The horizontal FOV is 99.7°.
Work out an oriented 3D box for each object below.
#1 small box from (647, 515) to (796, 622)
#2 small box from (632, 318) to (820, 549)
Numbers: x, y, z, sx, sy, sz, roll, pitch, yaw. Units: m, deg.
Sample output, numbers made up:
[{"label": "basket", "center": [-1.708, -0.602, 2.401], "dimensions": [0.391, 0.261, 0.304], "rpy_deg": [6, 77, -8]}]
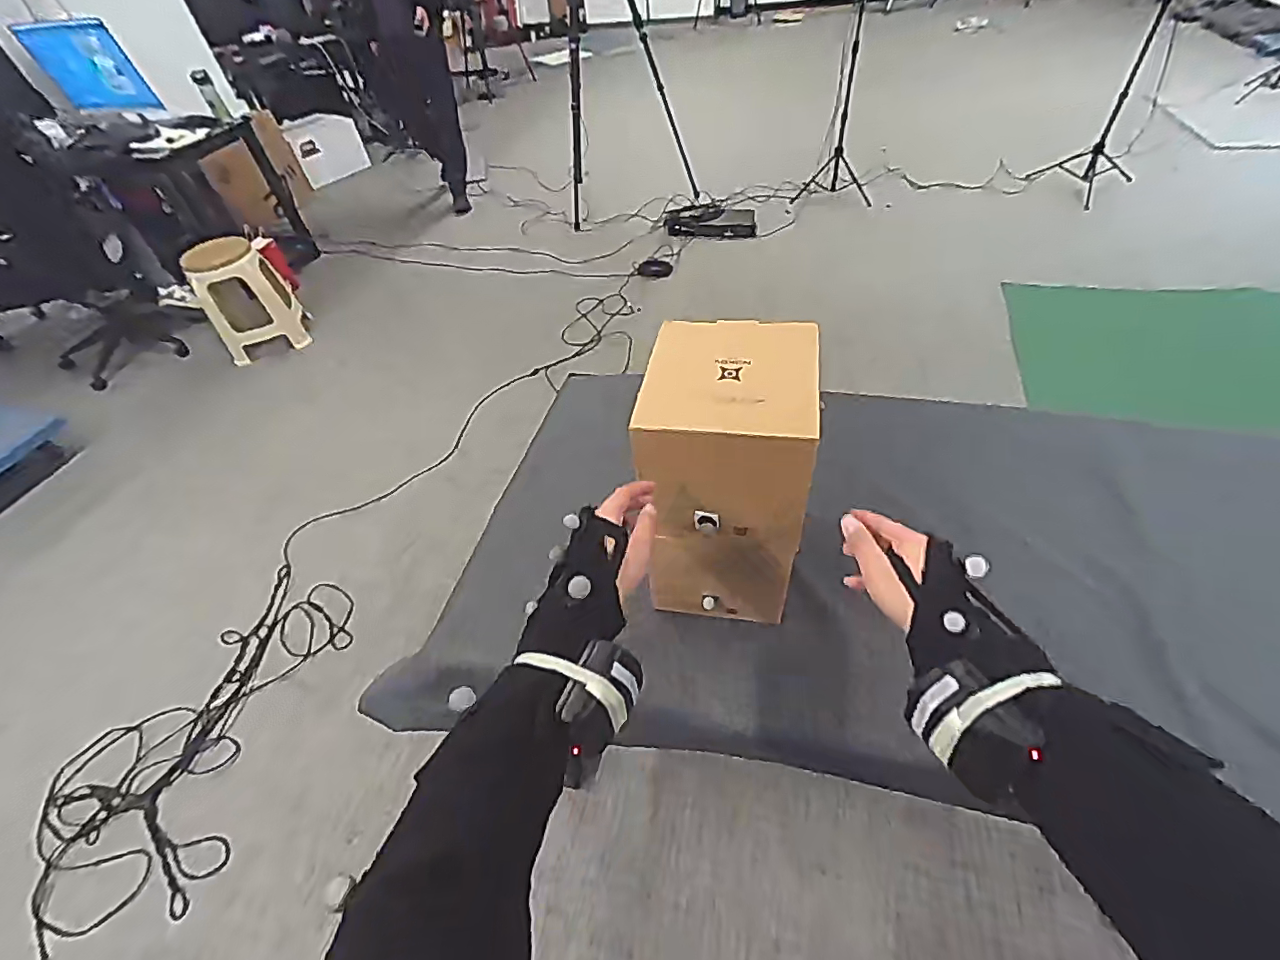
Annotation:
[{"label": "small box", "center": [0.108, 0.058, 0.699], "dimensions": [0.168, 0.176, 0.179], "rpy_deg": [4, 49, 11]}, {"label": "small box", "center": [0.096, -0.052, 0.579], "dimensions": [0.168, 0.176, 0.179], "rpy_deg": [5, 49, 13]}]
